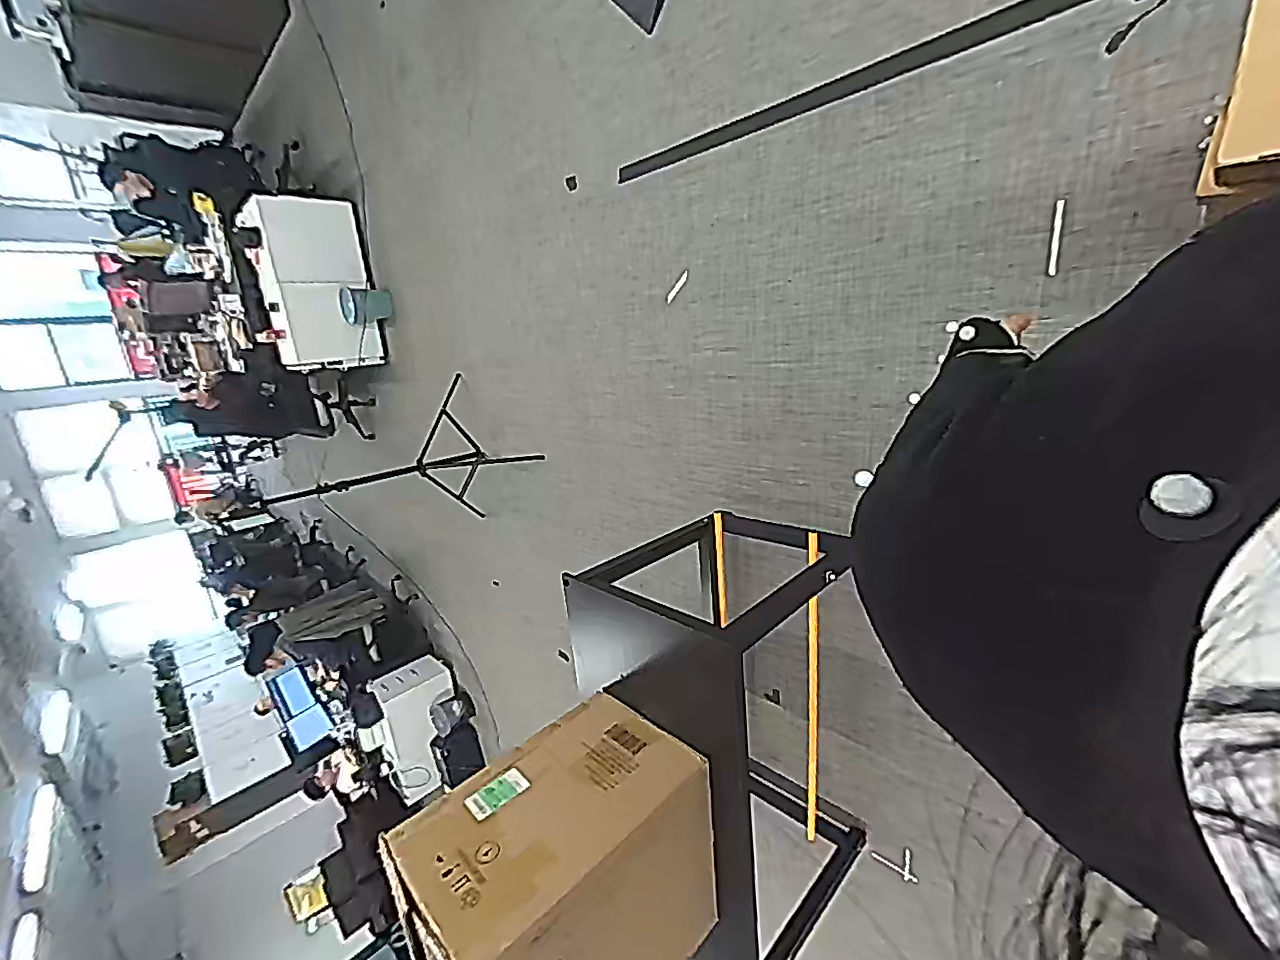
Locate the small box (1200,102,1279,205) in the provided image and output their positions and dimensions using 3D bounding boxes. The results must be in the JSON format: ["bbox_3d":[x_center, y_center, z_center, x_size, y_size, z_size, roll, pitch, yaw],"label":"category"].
[{"bbox_3d":[0.810,-0.437,0.644,0.168,0.176,0.179,19,119,43],"label":"small box"}]

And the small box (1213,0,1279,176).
[{"bbox_3d":[0.700,-0.409,0.525,0.168,0.176,0.179,14,115,44],"label":"small box"}]

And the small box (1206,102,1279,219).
[{"bbox_3d":[1.038,-0.526,0.861,0.179,0.176,0.168,6,109,45],"label":"small box"}]
